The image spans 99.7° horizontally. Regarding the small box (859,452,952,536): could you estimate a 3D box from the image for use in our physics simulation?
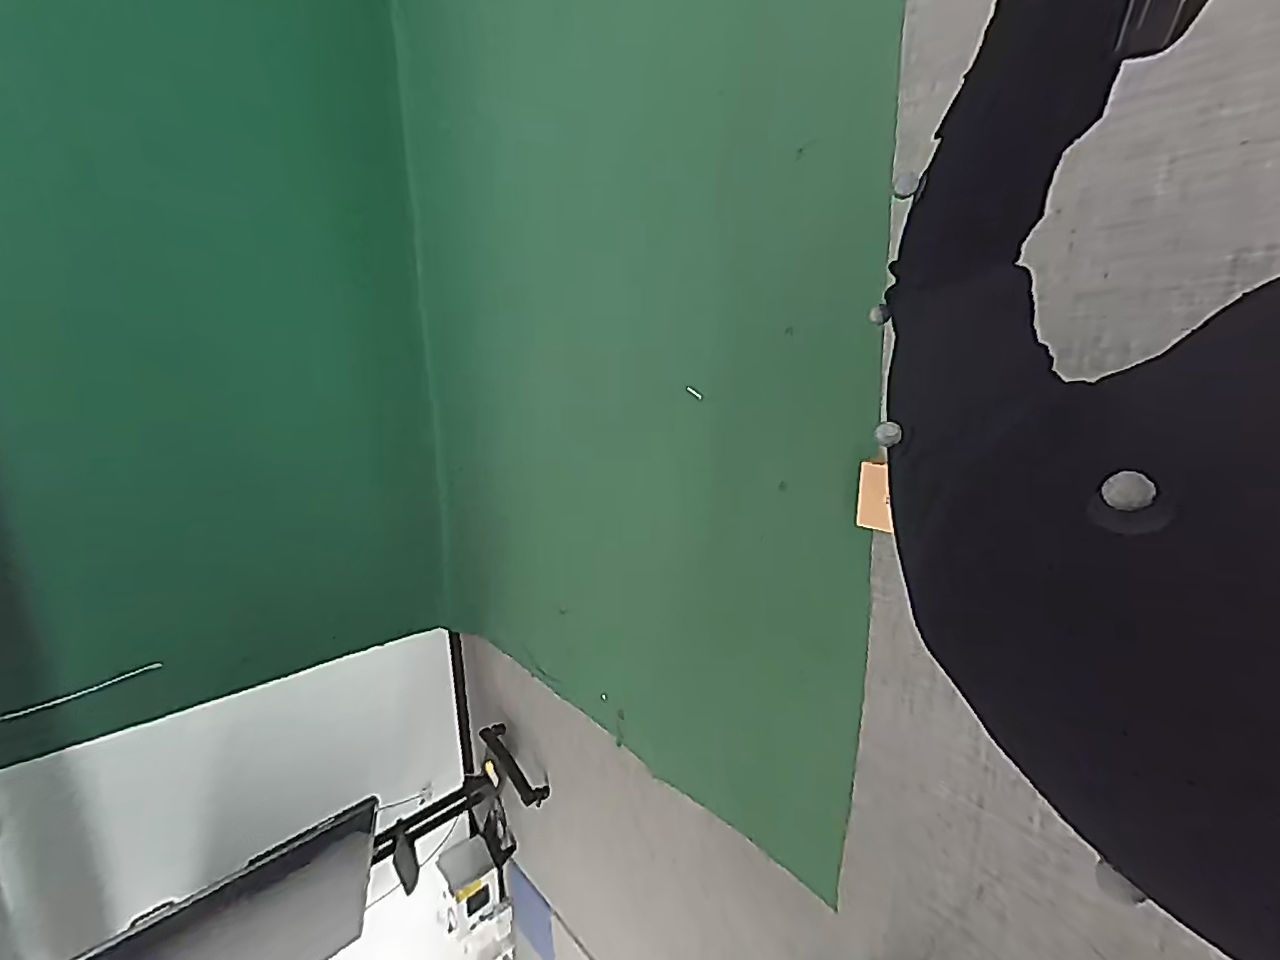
[{"bbox_3d":[0.693,0.029,1.411,0.168,0.176,0.179,12,106,46],"label":"small box"}]
